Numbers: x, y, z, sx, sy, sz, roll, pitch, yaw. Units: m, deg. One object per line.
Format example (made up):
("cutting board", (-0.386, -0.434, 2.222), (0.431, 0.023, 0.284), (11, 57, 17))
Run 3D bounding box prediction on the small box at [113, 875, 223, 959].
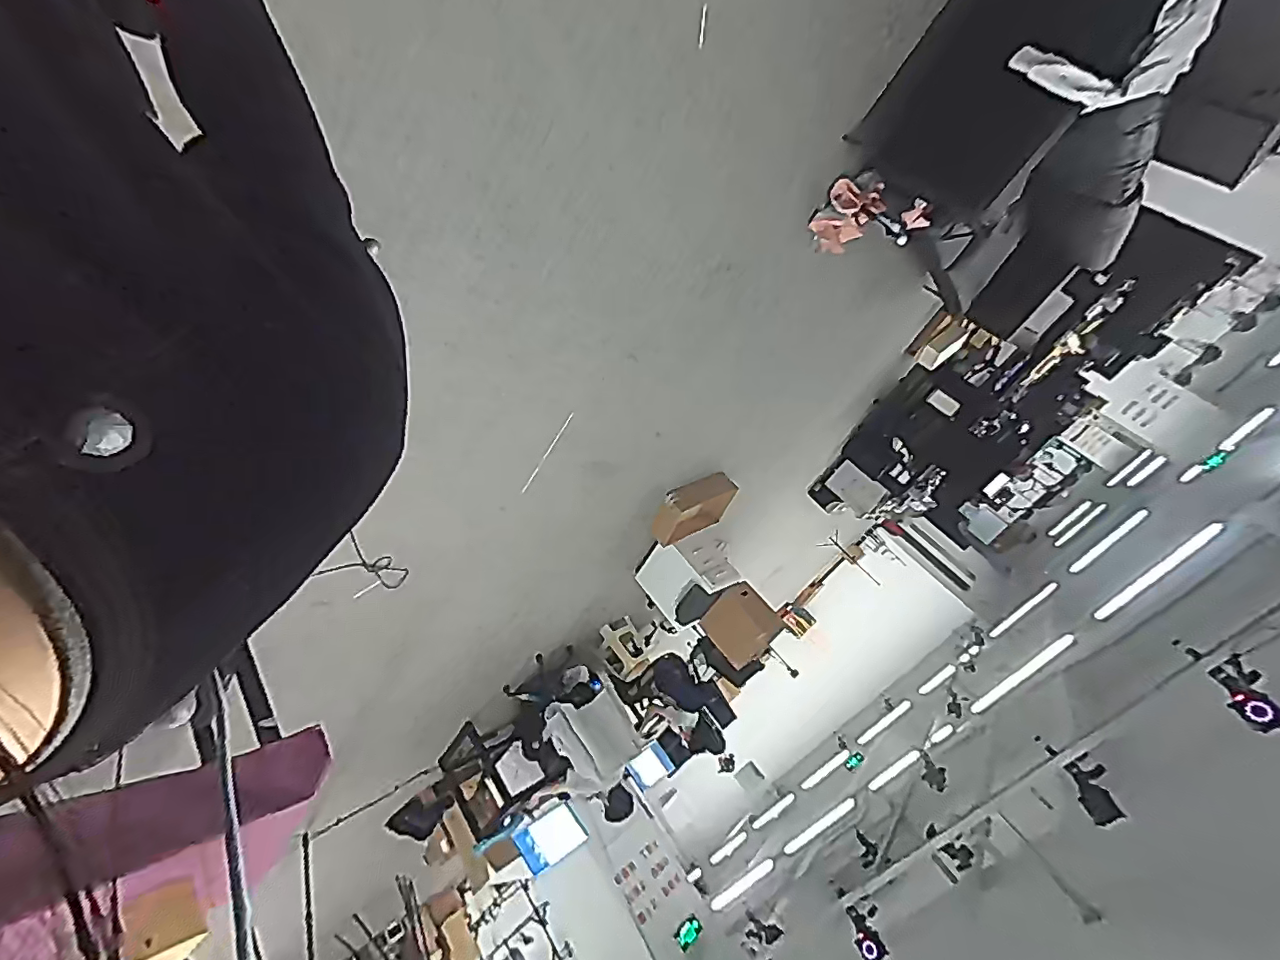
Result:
("small box", (-1.342, 1.277, 1.535), (0.168, 0.176, 0.179), (-49, 152, 11))
